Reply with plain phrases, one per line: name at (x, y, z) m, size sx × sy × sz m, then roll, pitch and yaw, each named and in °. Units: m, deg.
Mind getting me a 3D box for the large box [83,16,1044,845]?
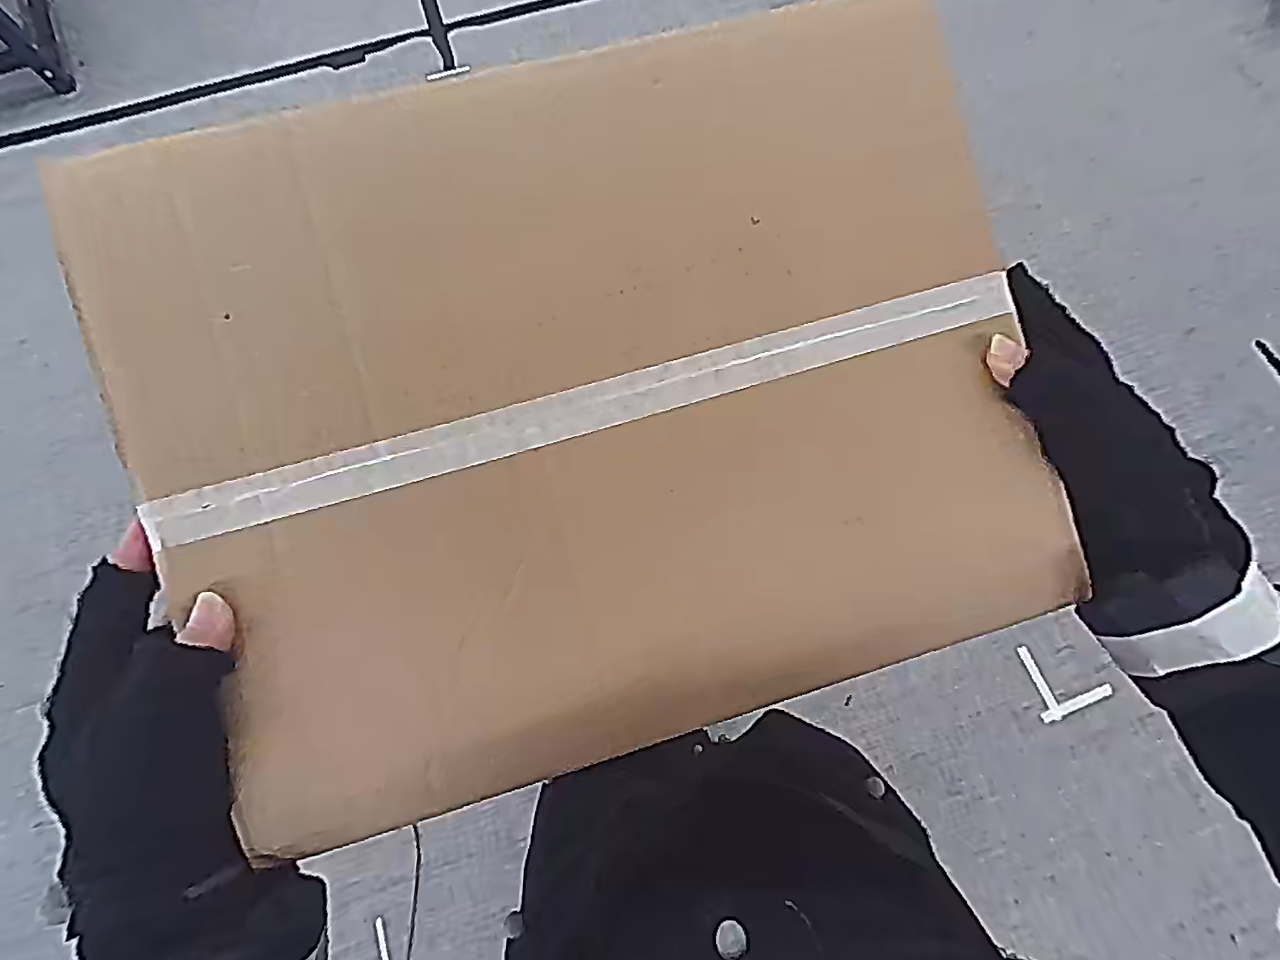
large box at (-0.029, -0.035, 0.408) m, size 0.408 × 0.320 × 0.320 m, roll -16°, pitch 91°, yaw -5°
